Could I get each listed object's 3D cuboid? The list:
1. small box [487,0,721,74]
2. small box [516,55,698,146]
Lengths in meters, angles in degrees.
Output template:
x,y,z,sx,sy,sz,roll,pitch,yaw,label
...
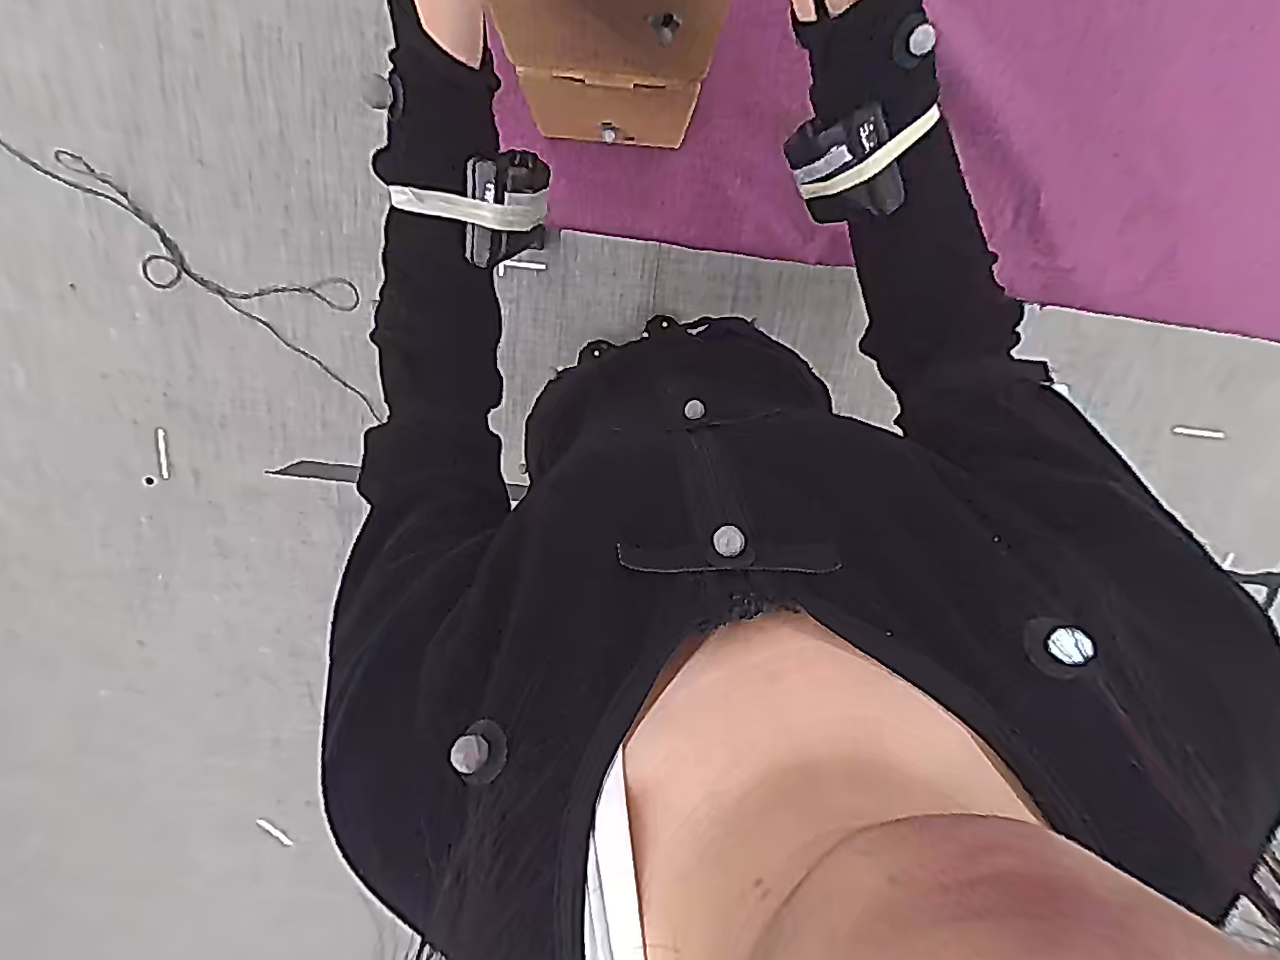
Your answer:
x,y,z,sx,sy,sz,roll,pitch,yaw,label
-0.022,-0.422,0.384,0.179,0.176,0.168,3,104,-2,small box
-0.028,-0.466,0.540,0.168,0.176,0.179,3,106,-3,small box
